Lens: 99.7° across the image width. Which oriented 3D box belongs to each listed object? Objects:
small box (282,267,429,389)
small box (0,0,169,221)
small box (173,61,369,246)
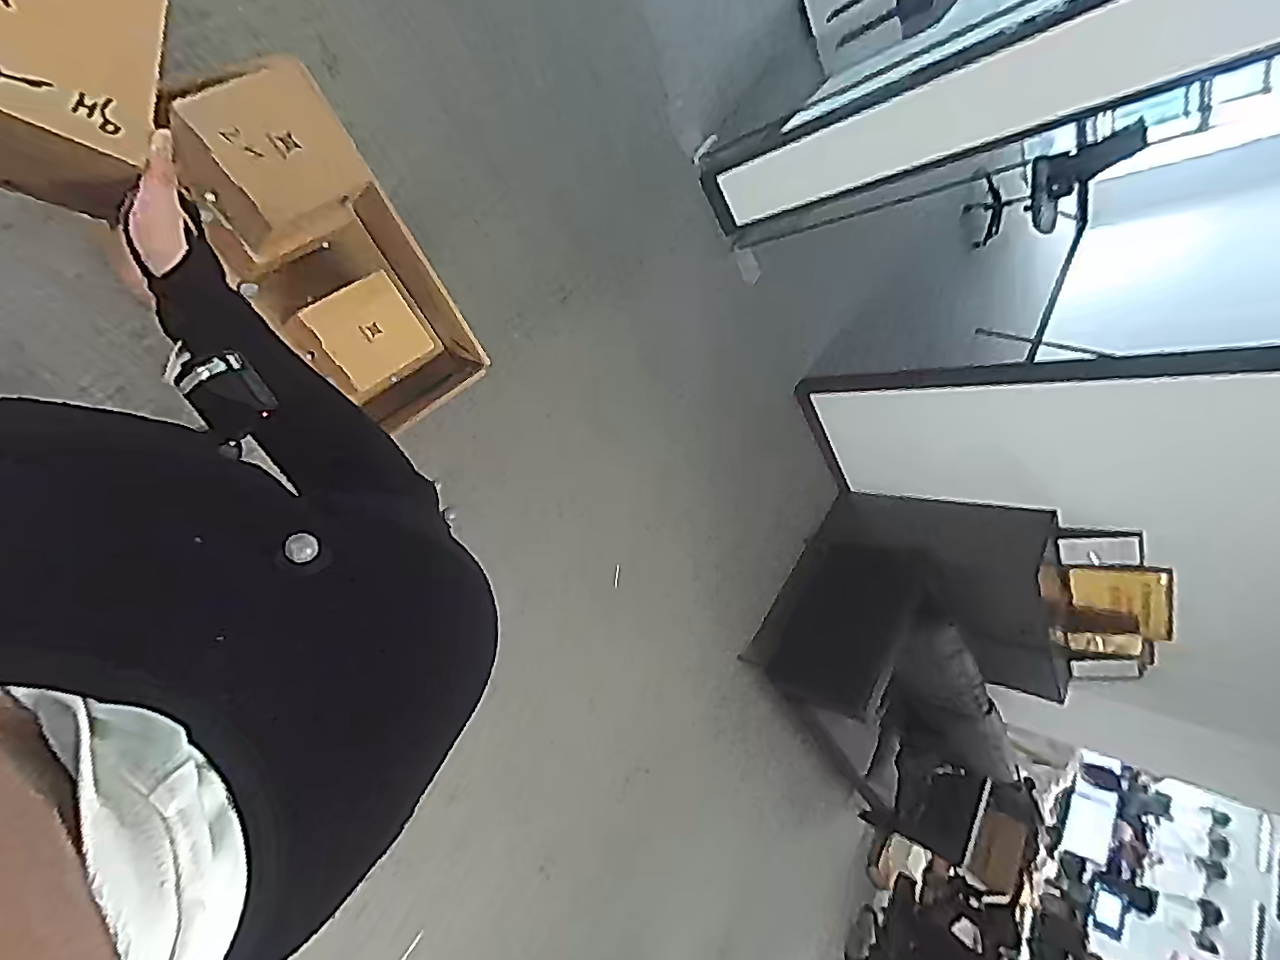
[{"bbox_3d":[-0.564,-0.296,1.070,0.179,0.176,0.168,-45,123,-28],"label":"small box"},{"bbox_3d":[-0.478,-0.323,0.395,0.168,0.176,0.179,6,89,-53],"label":"small box"},{"bbox_3d":[-0.560,-0.483,0.819,0.179,0.176,0.168,-48,125,-27],"label":"small box"}]
